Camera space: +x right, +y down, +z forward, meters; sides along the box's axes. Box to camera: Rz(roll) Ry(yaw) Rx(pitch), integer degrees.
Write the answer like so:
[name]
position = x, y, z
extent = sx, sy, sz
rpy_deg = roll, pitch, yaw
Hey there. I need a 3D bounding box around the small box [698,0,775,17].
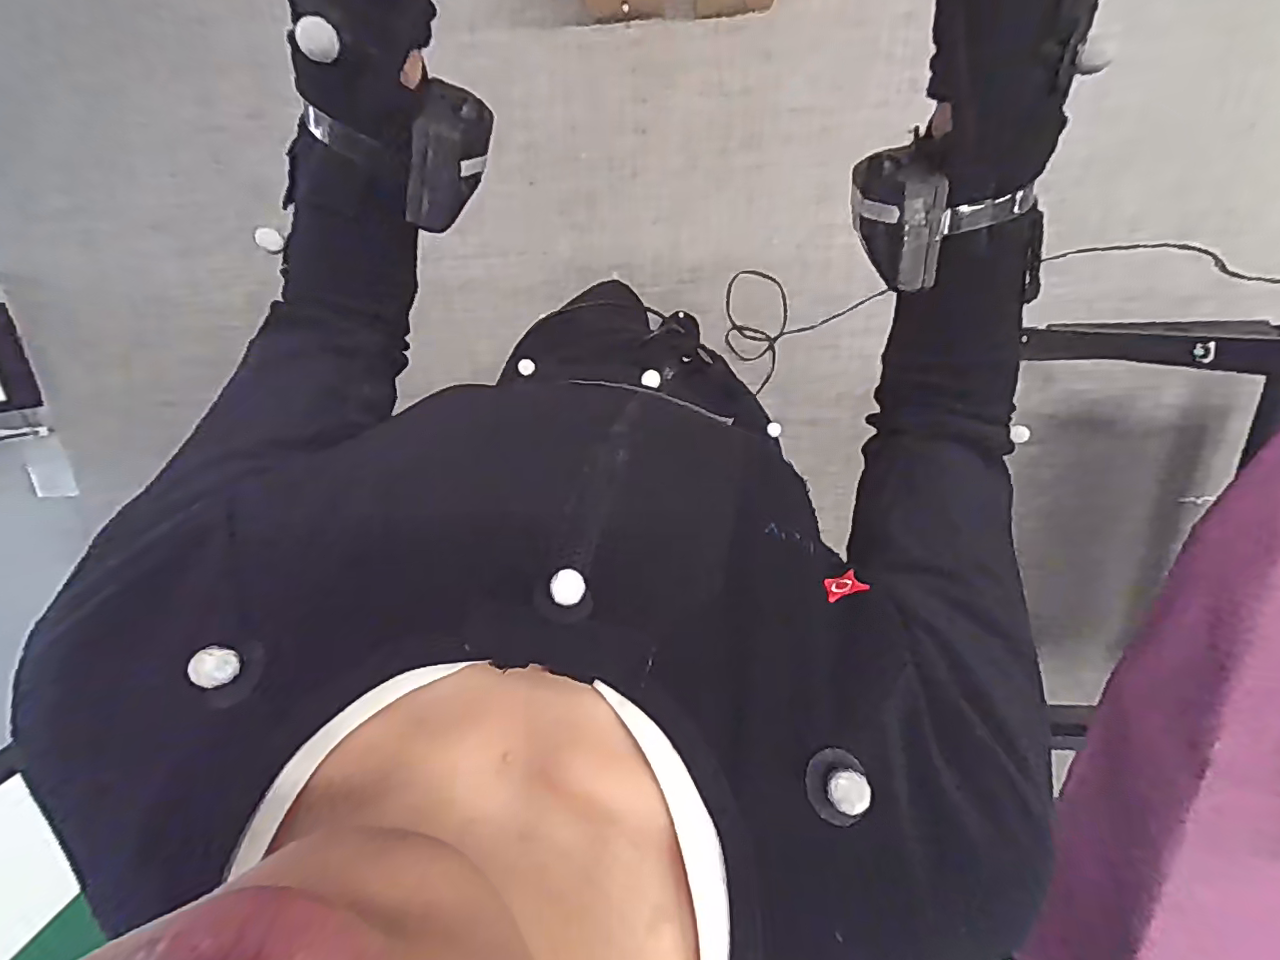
[small box]
position = 0.195, -1.066, 1.063
extent = 0.168, 0.176, 0.179
rpy_deg = -3, 106, 6
